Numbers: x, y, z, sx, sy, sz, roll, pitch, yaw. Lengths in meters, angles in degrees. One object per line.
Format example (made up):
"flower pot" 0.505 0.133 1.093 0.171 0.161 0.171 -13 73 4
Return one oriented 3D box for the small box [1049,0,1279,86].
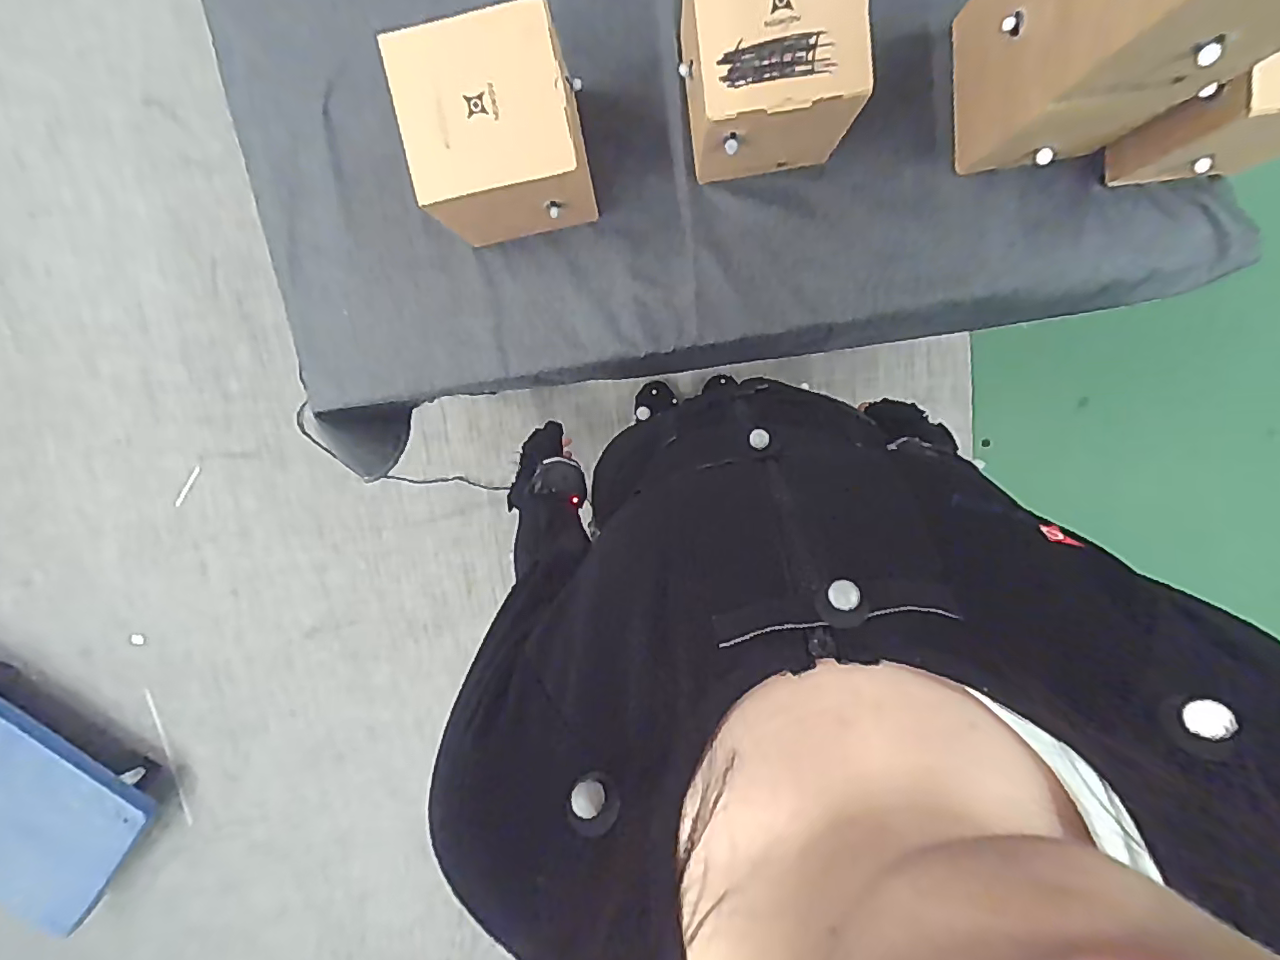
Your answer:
"small box" 0.460 -0.443 0.422 0.168 0.176 0.179 -5 99 3
